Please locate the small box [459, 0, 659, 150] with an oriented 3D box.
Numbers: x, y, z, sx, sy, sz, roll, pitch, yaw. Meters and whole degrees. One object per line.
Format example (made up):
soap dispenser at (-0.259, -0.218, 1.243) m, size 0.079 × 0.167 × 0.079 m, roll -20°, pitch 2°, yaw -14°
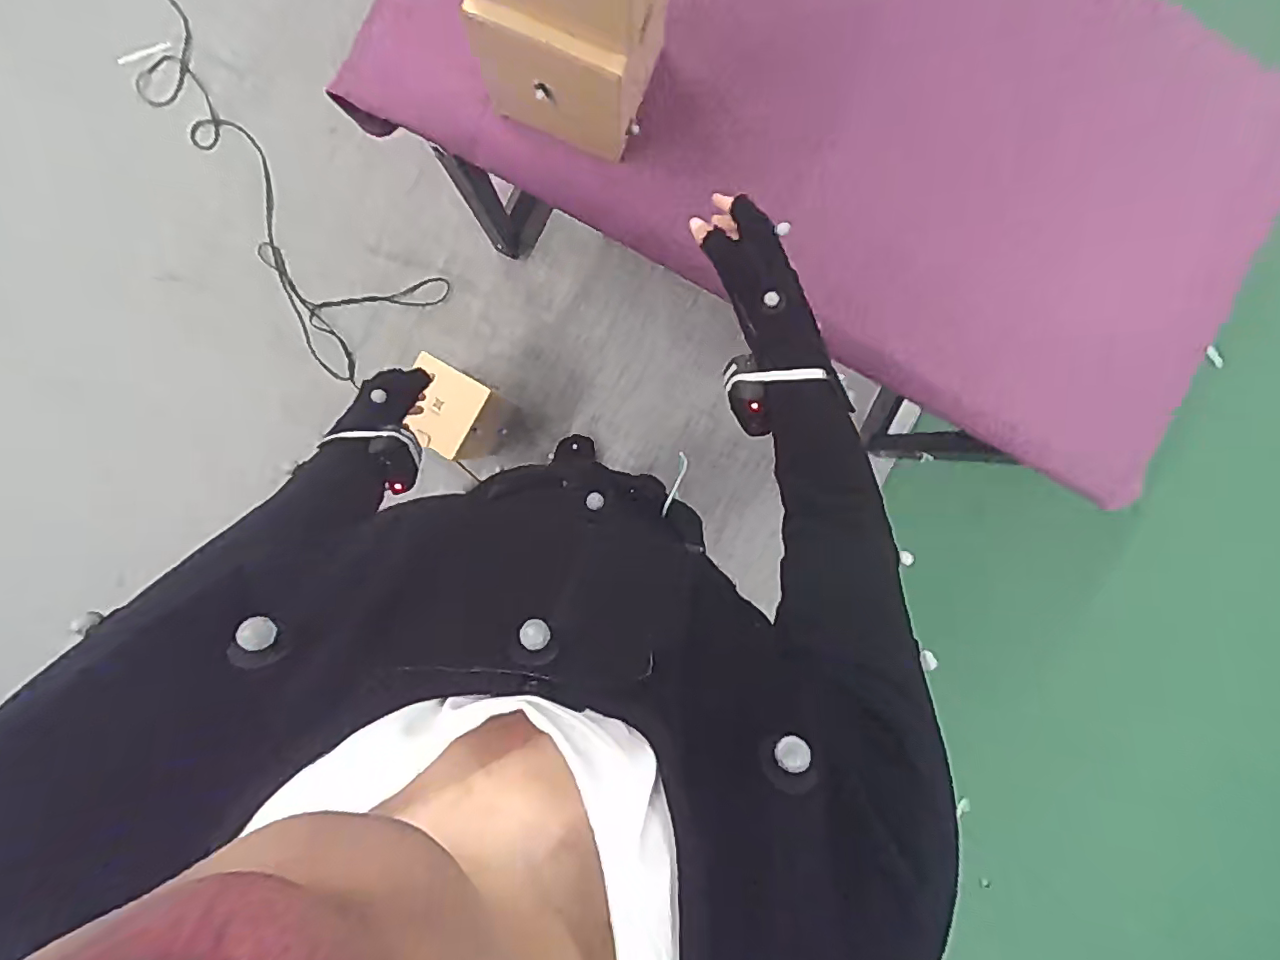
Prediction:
small box at (-0.081, -0.529, 0.633) m, size 0.179 × 0.176 × 0.168 m, roll 20°, pitch 92°, yaw -4°
